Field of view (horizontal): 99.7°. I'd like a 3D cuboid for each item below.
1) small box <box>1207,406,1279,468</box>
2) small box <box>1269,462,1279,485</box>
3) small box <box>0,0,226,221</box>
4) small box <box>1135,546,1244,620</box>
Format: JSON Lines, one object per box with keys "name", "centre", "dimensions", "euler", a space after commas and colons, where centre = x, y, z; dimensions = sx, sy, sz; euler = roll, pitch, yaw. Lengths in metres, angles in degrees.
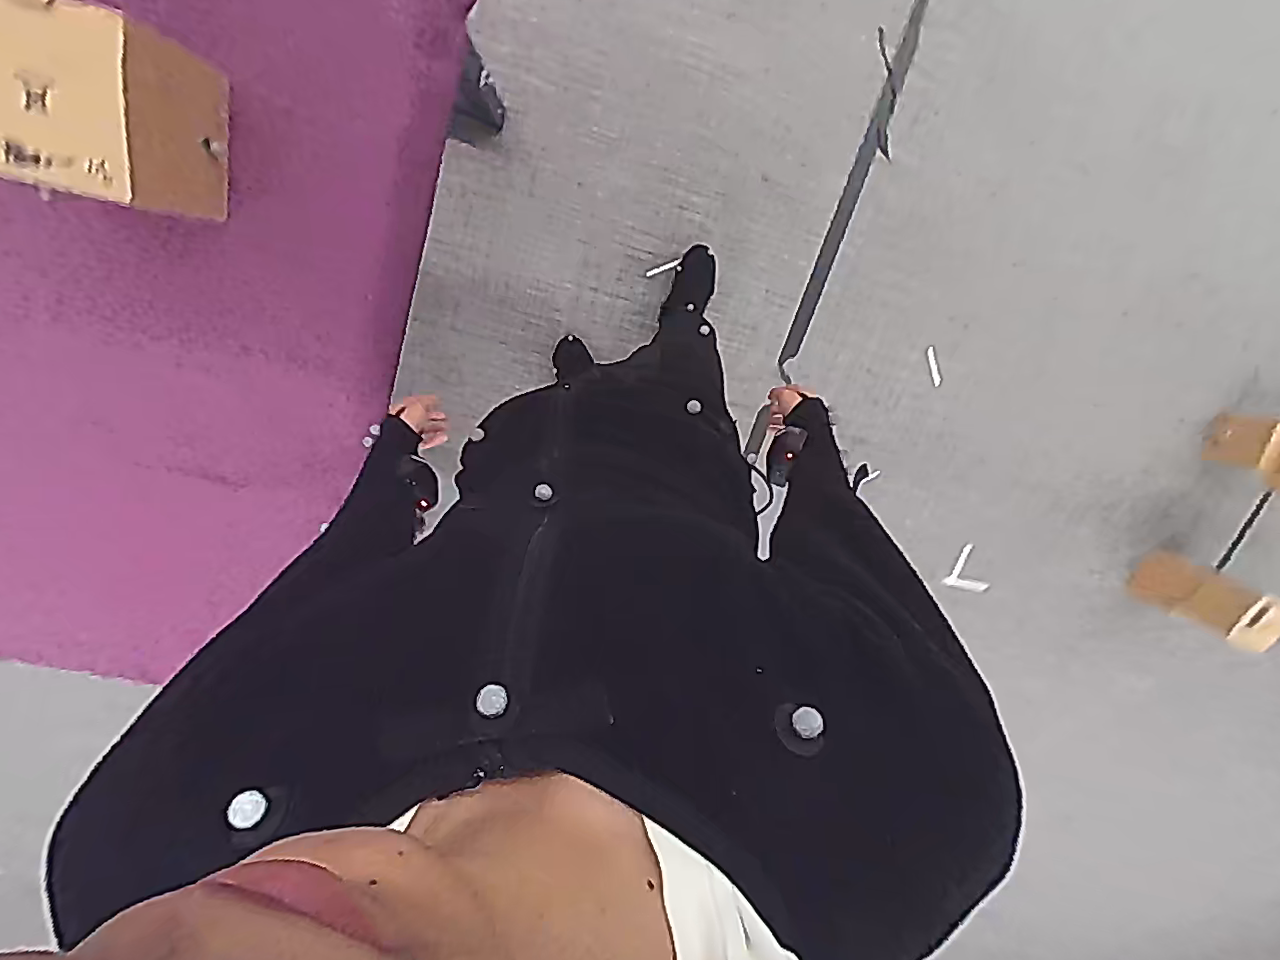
{"name": "small box", "centre": [1.984, -0.137, 1.708], "dimensions": [0.179, 0.176, 0.168], "euler": [3, 108, -6]}
{"name": "small box", "centre": [2.041, -0.022, 1.579], "dimensions": [0.179, 0.176, 0.168], "euler": [17, 105, -11]}
{"name": "small box", "centre": [-0.607, -0.414, 0.610], "dimensions": [0.168, 0.176, 0.179], "euler": [11, 107, -8]}
{"name": "small box", "centre": [1.883, 0.349, 1.866], "dimensions": [0.168, 0.176, 0.179], "euler": [15, 108, -10]}
